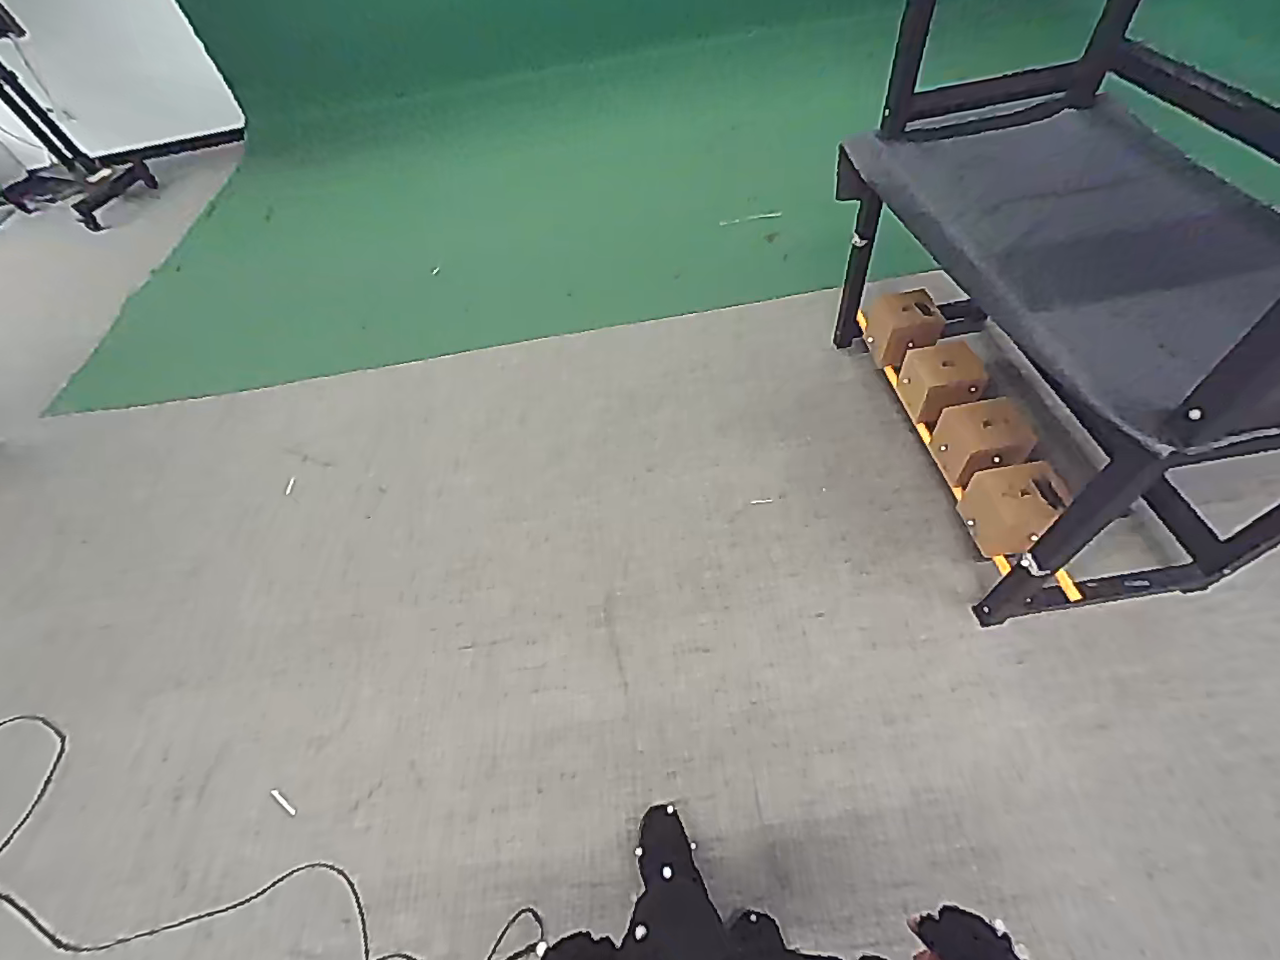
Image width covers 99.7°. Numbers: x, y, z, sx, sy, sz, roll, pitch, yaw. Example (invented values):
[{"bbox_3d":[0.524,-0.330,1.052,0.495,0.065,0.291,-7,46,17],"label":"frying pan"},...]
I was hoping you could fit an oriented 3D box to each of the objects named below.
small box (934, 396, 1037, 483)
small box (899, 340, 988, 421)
[{"bbox_3d":[0.955,-0.108,1.522,0.179,0.176,0.168,-10,53,3],"label":"small box"},{"bbox_3d":[0.924,-0.302,1.670,0.179,0.176,0.168,-9,54,4],"label":"small box"}]
